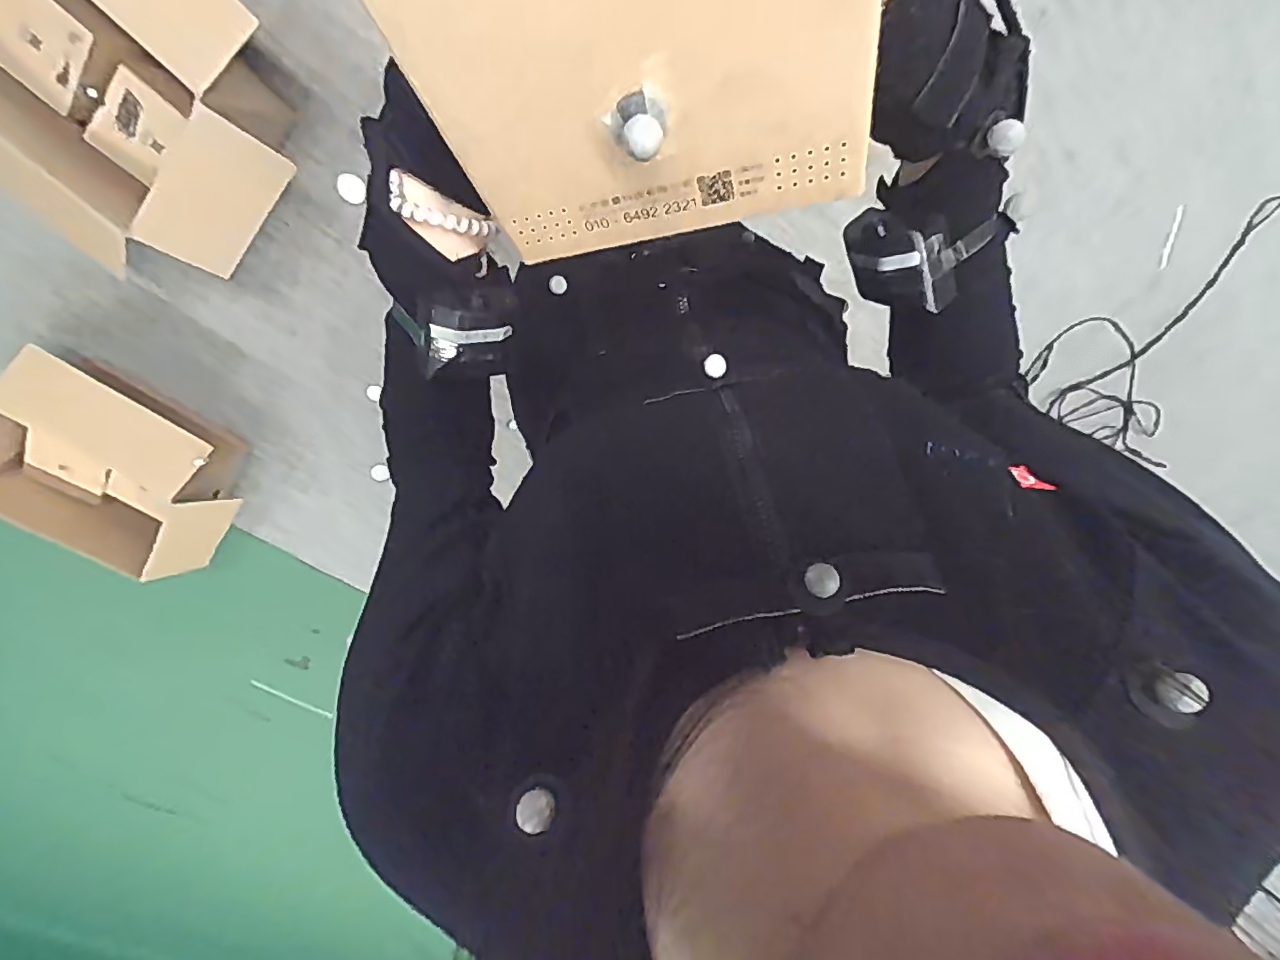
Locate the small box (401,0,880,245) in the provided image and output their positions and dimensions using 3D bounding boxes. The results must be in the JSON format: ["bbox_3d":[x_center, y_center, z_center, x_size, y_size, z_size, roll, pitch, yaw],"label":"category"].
[{"bbox_3d":[0.001,-0.232,0.217,0.168,0.179,0.176,-4,155,17],"label":"small box"}]
